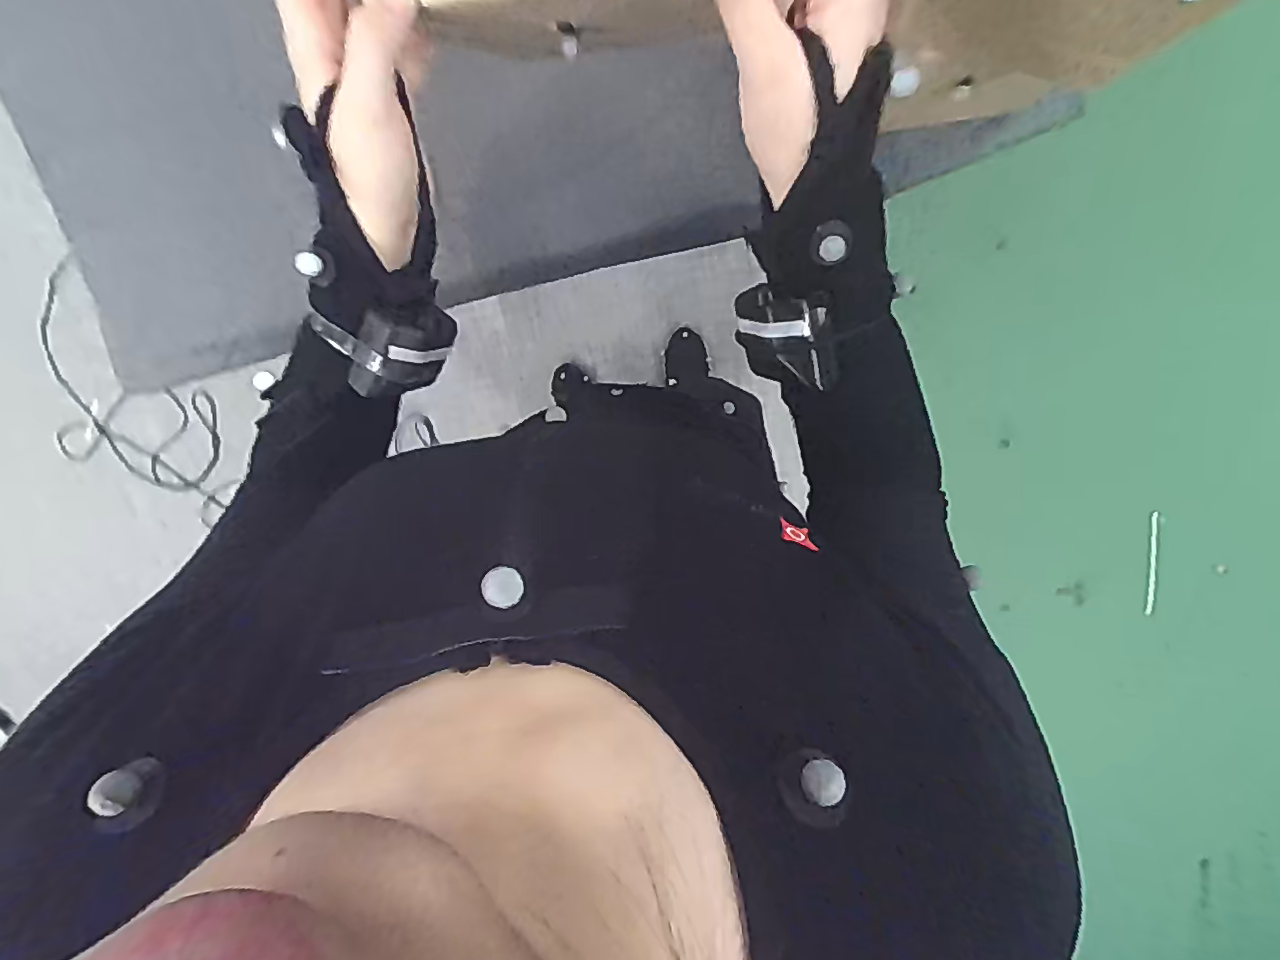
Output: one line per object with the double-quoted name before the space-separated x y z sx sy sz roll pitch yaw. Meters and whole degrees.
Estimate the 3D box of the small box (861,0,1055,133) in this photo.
"small box" 0.312 -0.444 0.493 0.179 0.176 0.168 -5 104 6
